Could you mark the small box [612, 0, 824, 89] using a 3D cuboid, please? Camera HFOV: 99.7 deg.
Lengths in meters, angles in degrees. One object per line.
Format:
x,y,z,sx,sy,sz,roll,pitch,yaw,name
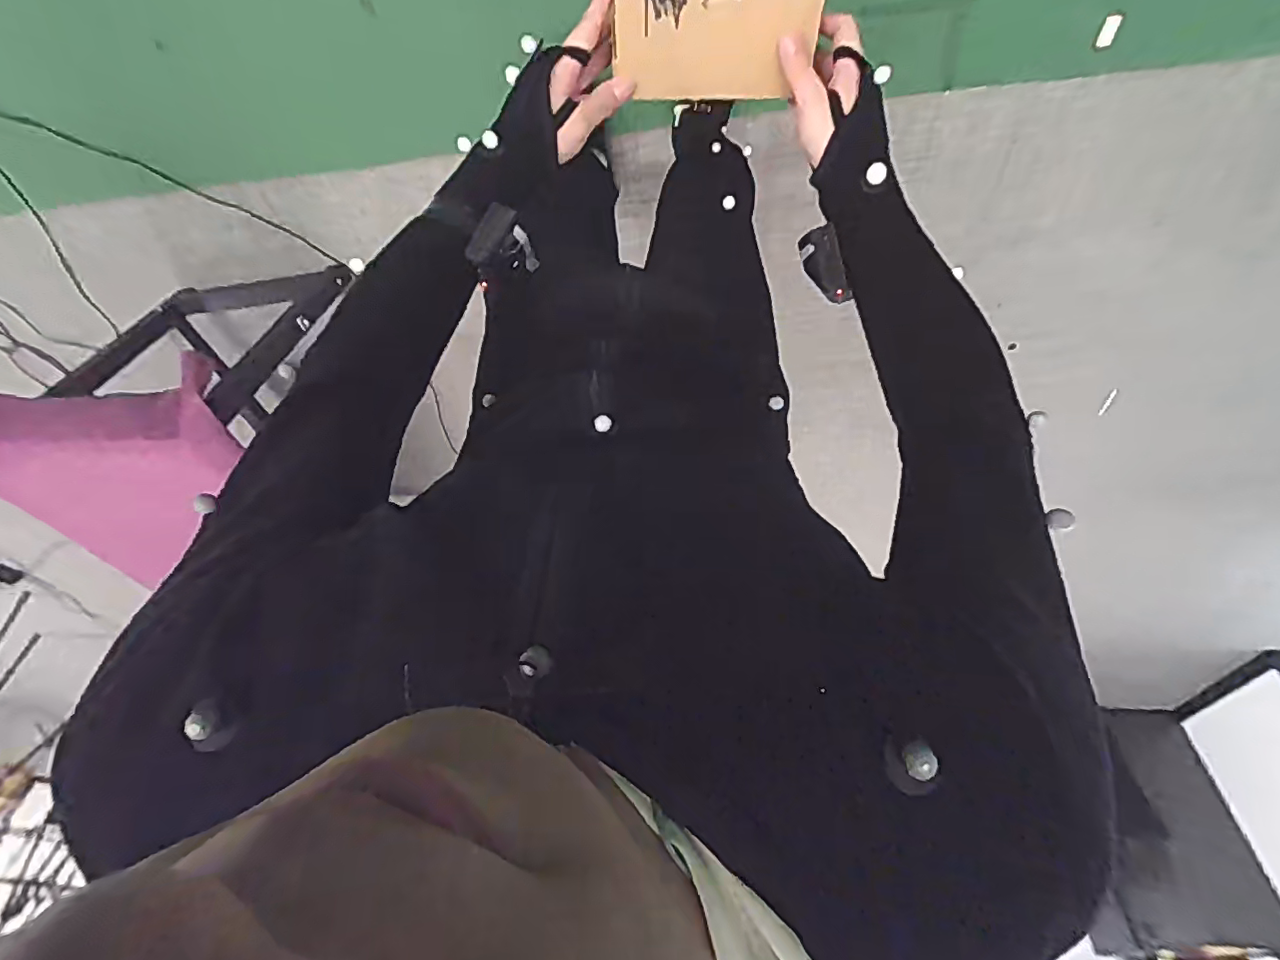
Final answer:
0.066,-0.468,0.476,0.179,0.176,0.168,0,141,1,small box
